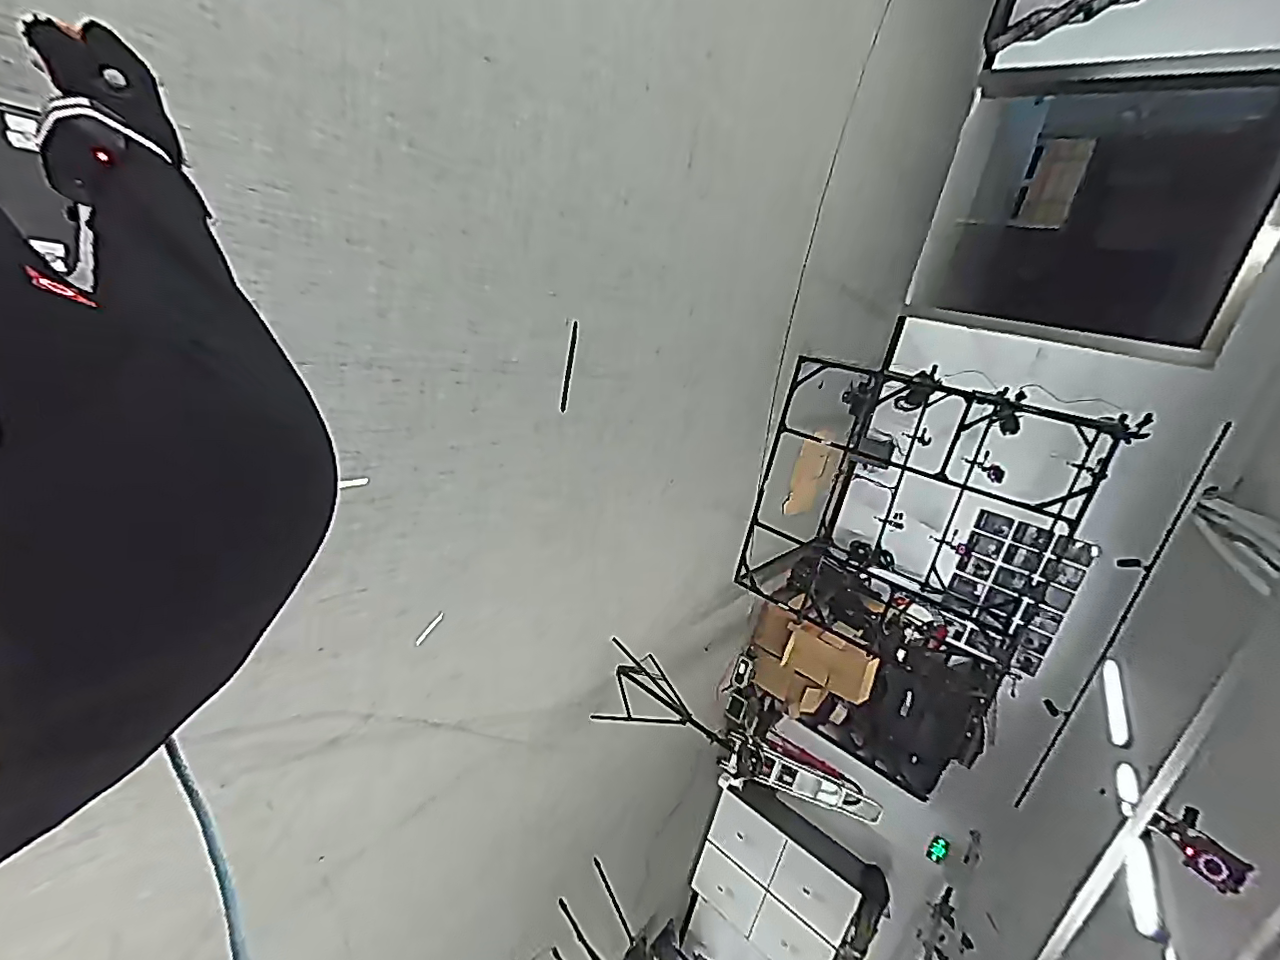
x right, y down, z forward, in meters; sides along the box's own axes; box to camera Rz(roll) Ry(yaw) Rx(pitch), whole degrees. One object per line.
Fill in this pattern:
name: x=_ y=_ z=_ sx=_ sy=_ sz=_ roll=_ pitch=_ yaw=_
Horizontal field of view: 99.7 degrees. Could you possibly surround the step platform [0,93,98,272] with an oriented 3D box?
step platform: x=-1.282 y=-0.507 z=0.796 sx=0.684 sy=0.204 sz=0.286 roll=-13 pitch=121 yaw=-52
